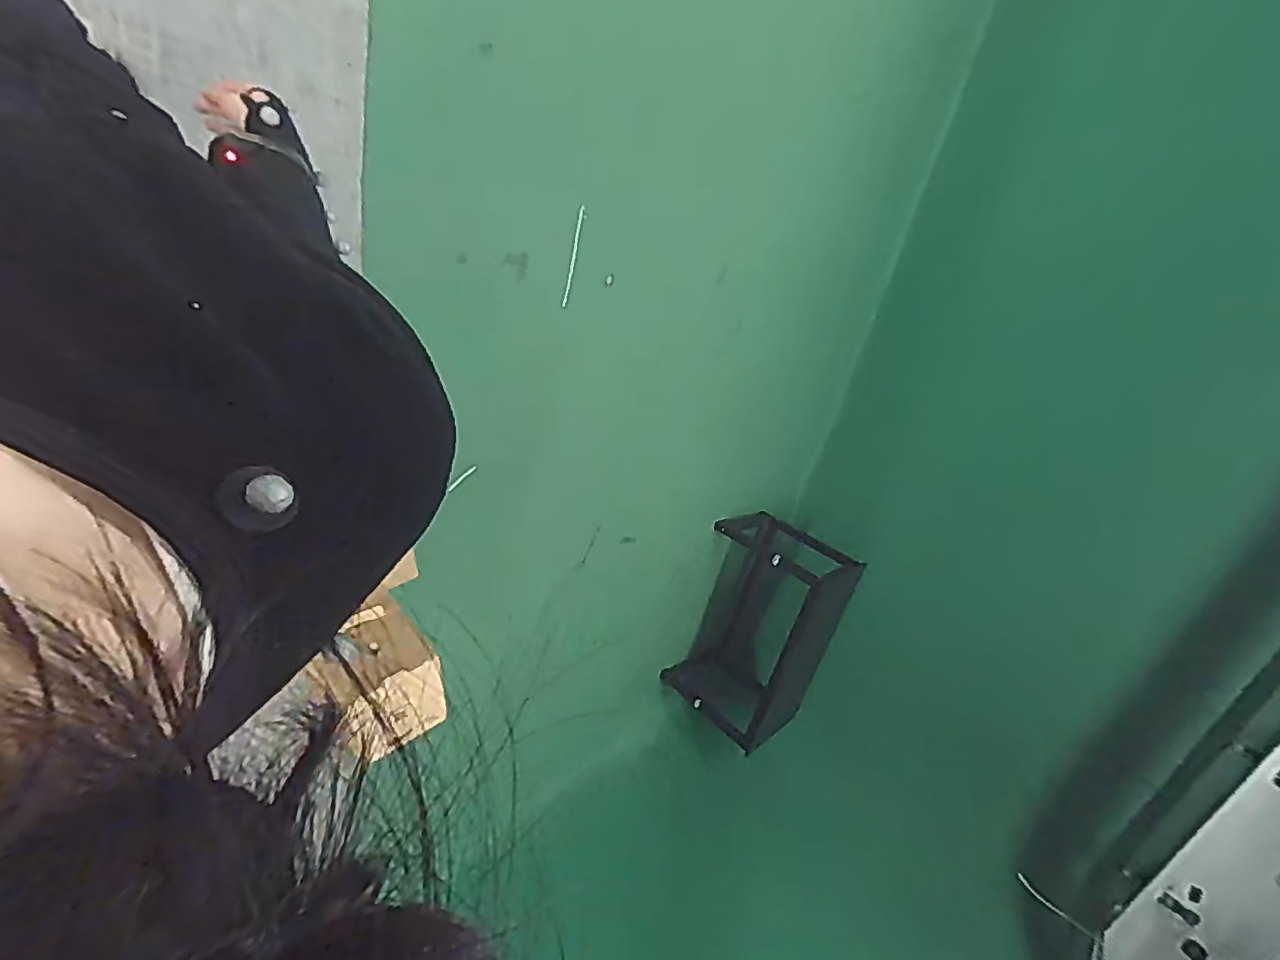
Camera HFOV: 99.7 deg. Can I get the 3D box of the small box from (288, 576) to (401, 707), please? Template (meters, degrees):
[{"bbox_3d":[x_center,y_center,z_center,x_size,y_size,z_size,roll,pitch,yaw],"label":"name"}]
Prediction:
[{"bbox_3d":[-0.609,0.322,1.127,0.168,0.176,0.179,-19,128,-40],"label":"small box"}]

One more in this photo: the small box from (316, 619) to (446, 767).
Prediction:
[{"bbox_3d":[-0.494,0.391,1.032,0.168,0.176,0.179,-20,127,-39],"label":"small box"}]
